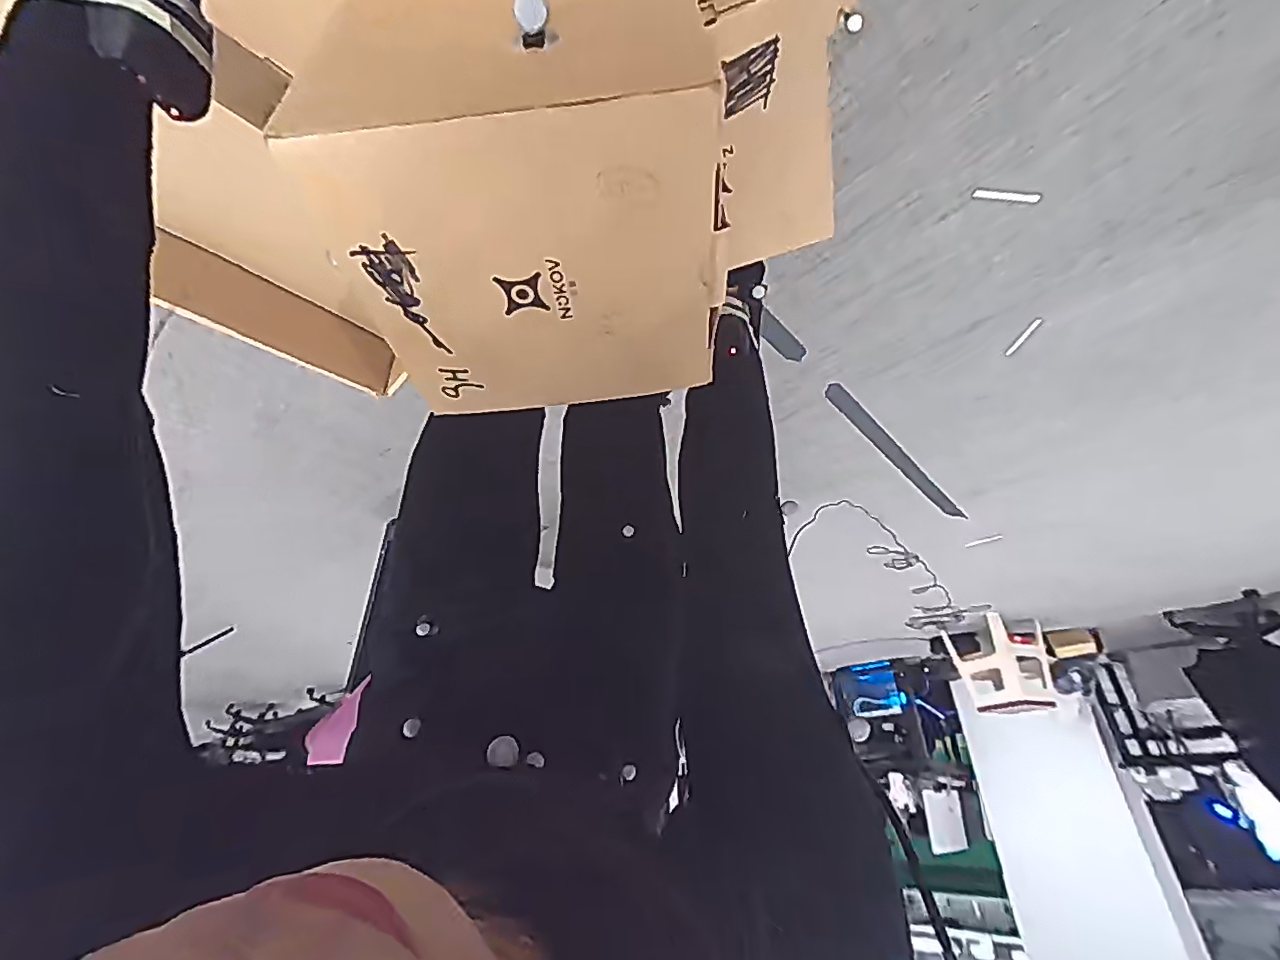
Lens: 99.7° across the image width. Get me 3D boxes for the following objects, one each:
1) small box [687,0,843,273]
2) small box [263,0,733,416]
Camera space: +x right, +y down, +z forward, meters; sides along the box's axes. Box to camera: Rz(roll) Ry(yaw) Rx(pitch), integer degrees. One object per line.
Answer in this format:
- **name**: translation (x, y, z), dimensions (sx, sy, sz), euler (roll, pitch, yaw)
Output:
- **small box**: translation (0.050, -0.286, 0.418), dimensions (0.168, 0.176, 0.179), euler (-13, 146, 16)
- **small box**: translation (-0.055, -0.160, 0.302), dimensions (0.179, 0.176, 0.168), euler (-7, 148, 1)
